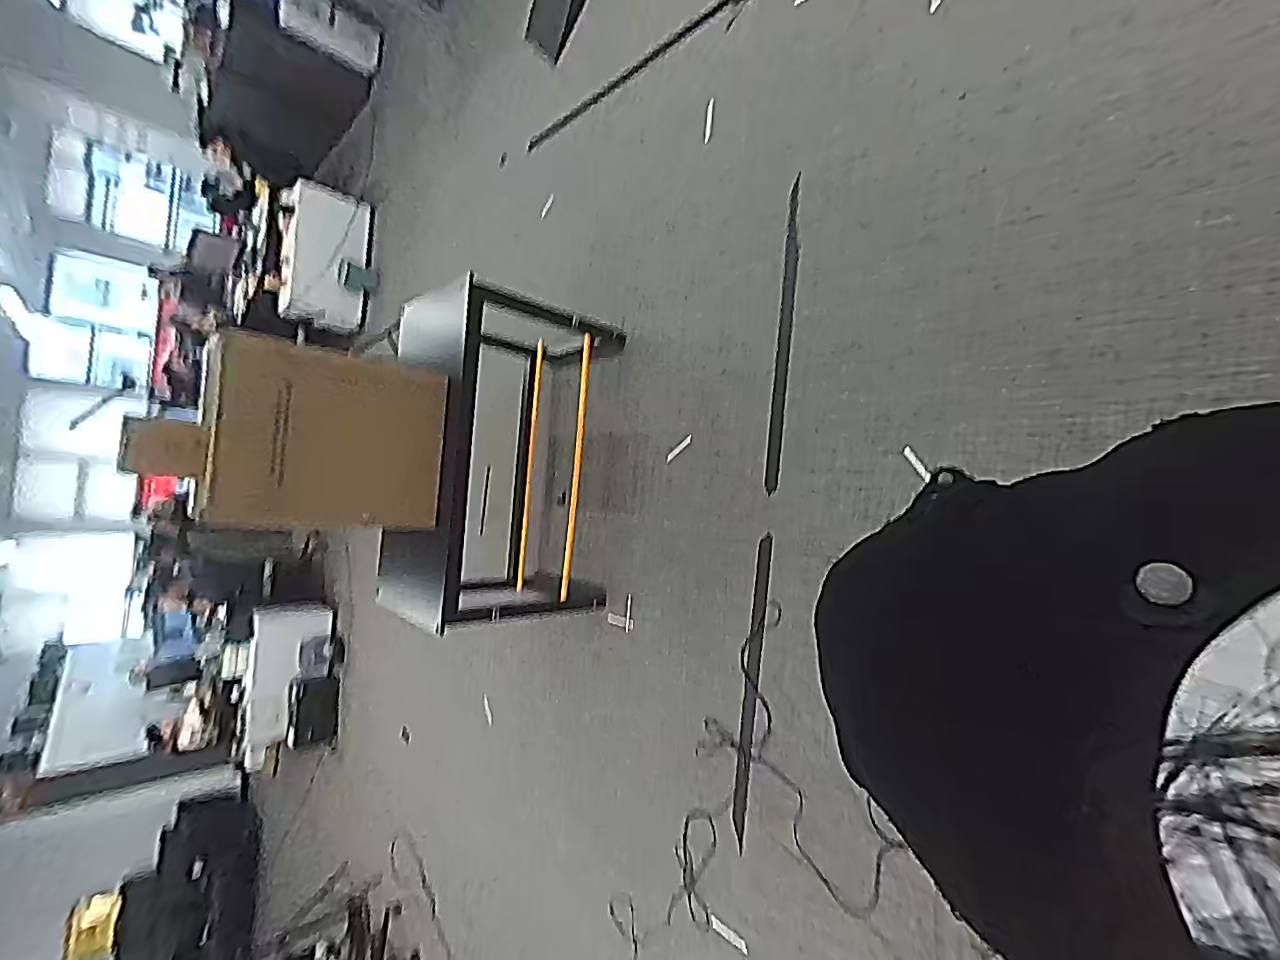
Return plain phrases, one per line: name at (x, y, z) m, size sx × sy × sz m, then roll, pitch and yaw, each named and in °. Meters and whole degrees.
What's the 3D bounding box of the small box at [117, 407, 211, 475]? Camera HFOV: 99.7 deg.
small box at (-1.280, -0.103, 1.455) m, size 0.179 × 0.176 × 0.168 m, roll 5°, pitch 89°, yaw 43°
